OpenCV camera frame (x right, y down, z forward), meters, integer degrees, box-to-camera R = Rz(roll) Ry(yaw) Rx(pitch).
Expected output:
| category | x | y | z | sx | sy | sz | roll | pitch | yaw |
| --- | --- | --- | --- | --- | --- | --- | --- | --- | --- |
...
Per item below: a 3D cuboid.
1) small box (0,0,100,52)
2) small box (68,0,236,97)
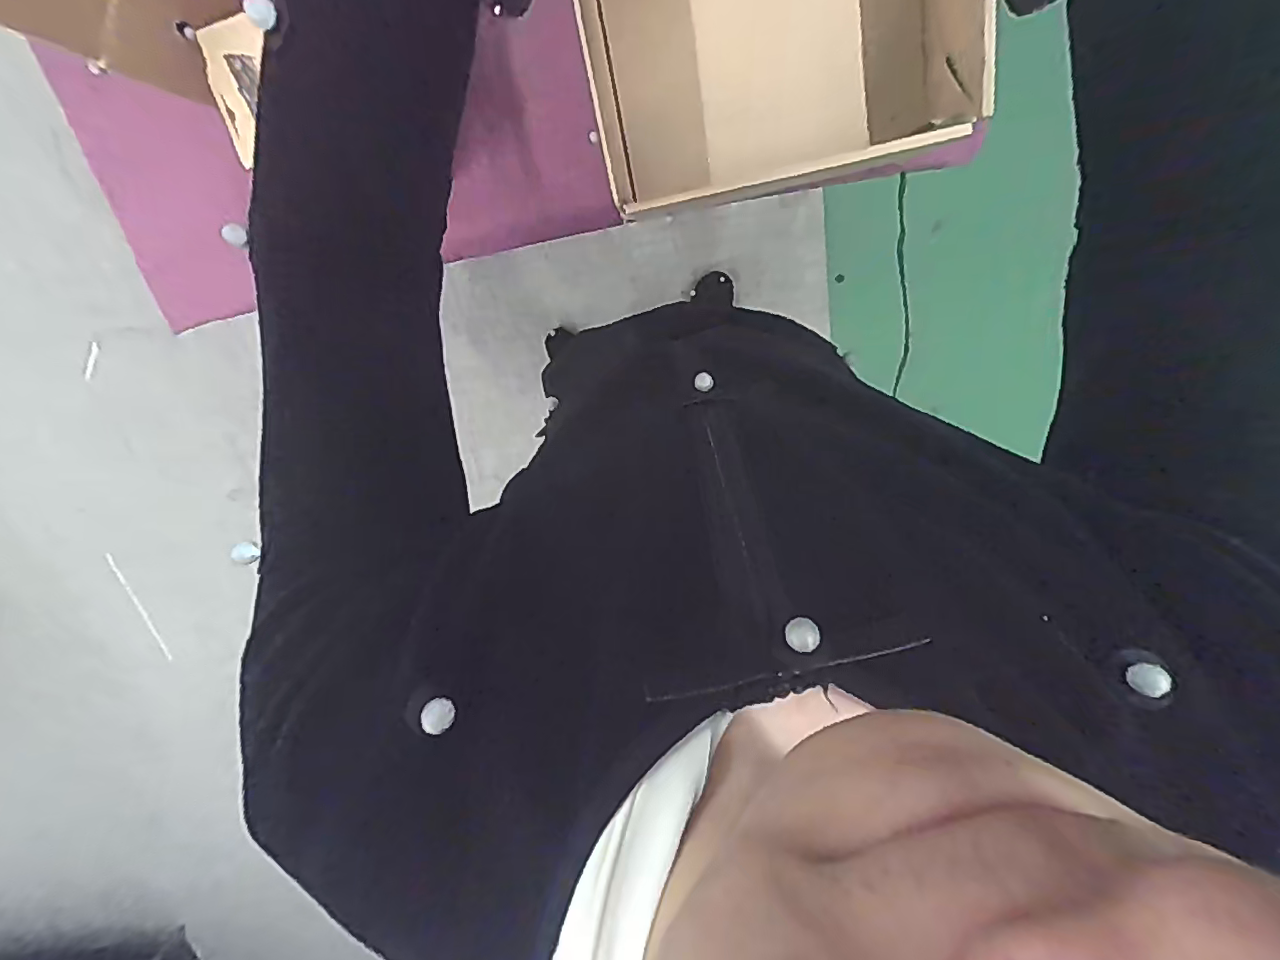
| category | x | y | z | sx | sy | sz | roll | pitch | yaw |
| --- | --- | --- | --- | --- | --- | --- | --- | --- | --- |
| small box | -0.632 | -0.540 | 0.482 | 0.168 | 0.176 | 0.179 | 30 | 109 | -9 |
| small box | -0.629 | -0.593 | 0.636 | 0.179 | 0.176 | 0.168 | 30 | 108 | -8 |
